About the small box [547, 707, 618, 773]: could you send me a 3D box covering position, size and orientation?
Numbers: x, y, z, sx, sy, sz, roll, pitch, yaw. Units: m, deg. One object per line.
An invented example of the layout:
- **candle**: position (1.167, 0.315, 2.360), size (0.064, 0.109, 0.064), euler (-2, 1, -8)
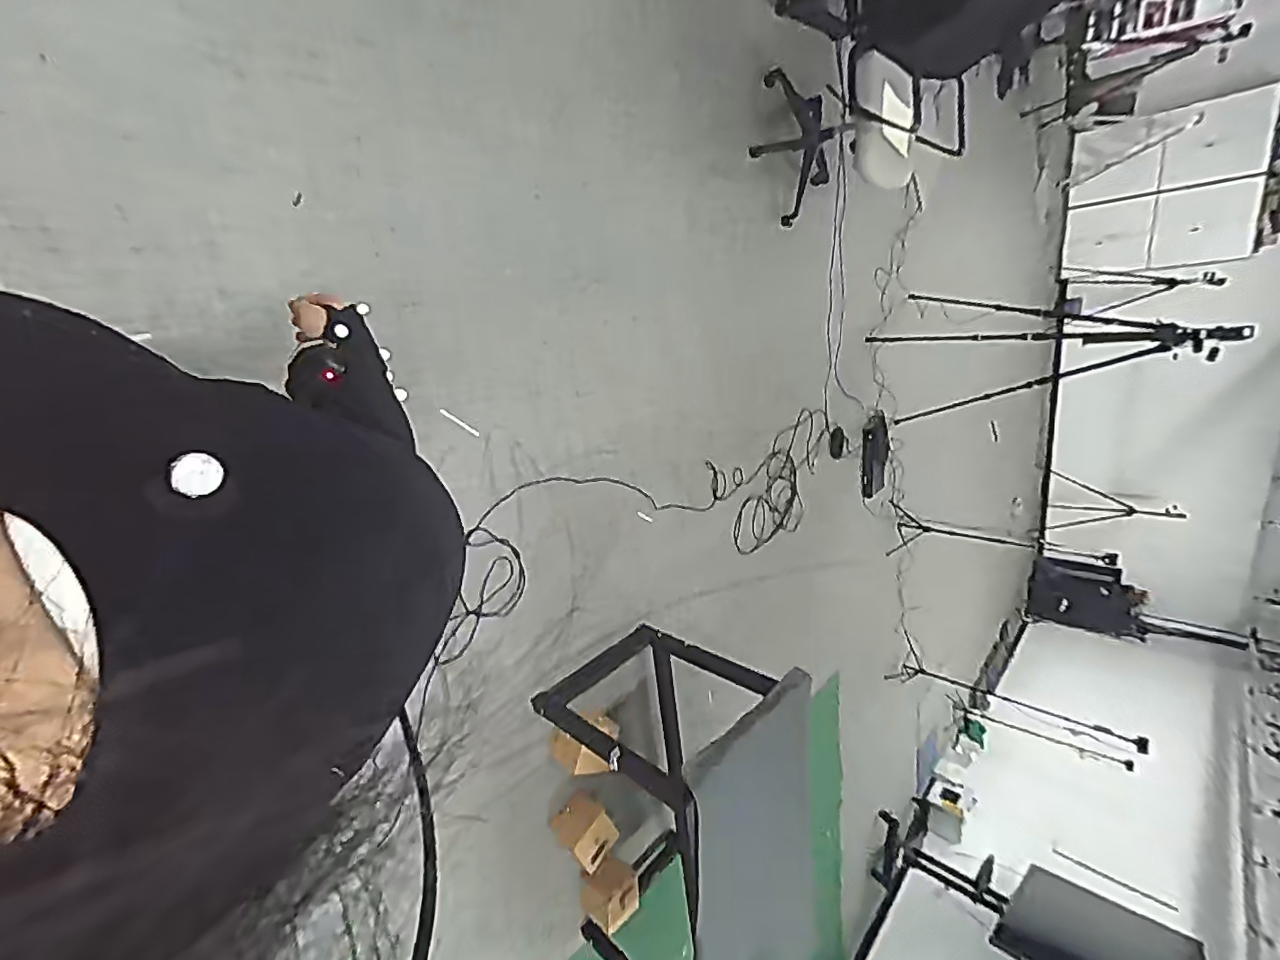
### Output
- **small box**: position (-0.217, 0.954, 1.996), size (0.179, 0.176, 0.168), euler (24, 79, -45)

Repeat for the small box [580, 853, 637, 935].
- **small box**: position (-0.131, 1.660, 2.189), size (0.168, 0.176, 0.179), euler (-15, 108, -43)
